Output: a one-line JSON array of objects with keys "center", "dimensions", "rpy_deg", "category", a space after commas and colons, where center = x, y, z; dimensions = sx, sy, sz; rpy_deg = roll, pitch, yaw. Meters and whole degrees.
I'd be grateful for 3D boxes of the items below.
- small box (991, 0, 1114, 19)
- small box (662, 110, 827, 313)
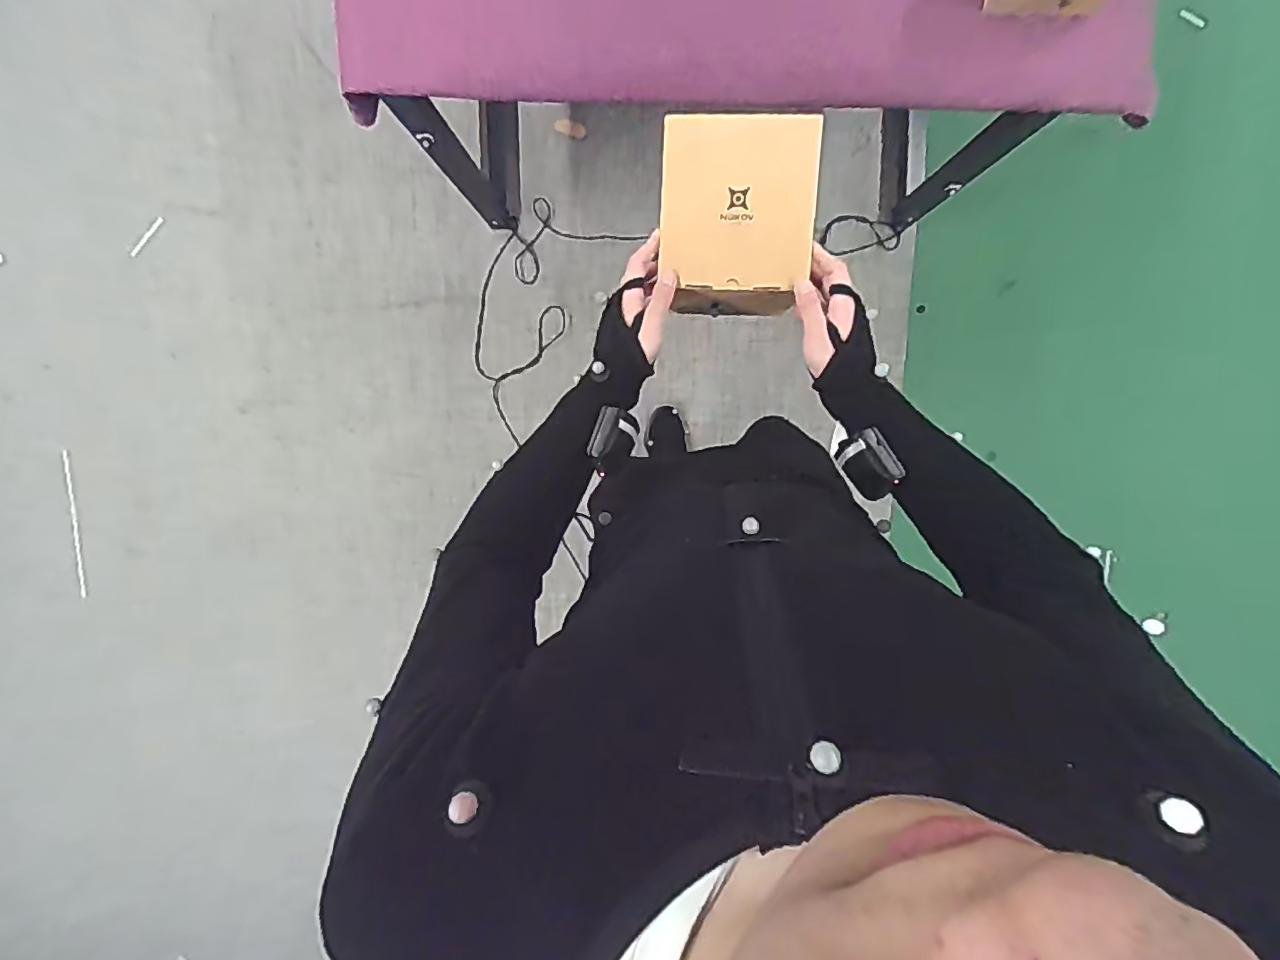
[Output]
[{"center": [0.588, -0.755, 0.699], "dimensions": [0.168, 0.176, 0.179], "rpy_deg": [3, 96, 2], "category": "small box"}, {"center": [0.113, -0.307, 0.650], "dimensions": [0.168, 0.176, 0.179], "rpy_deg": [3, 100, 4], "category": "small box"}]
